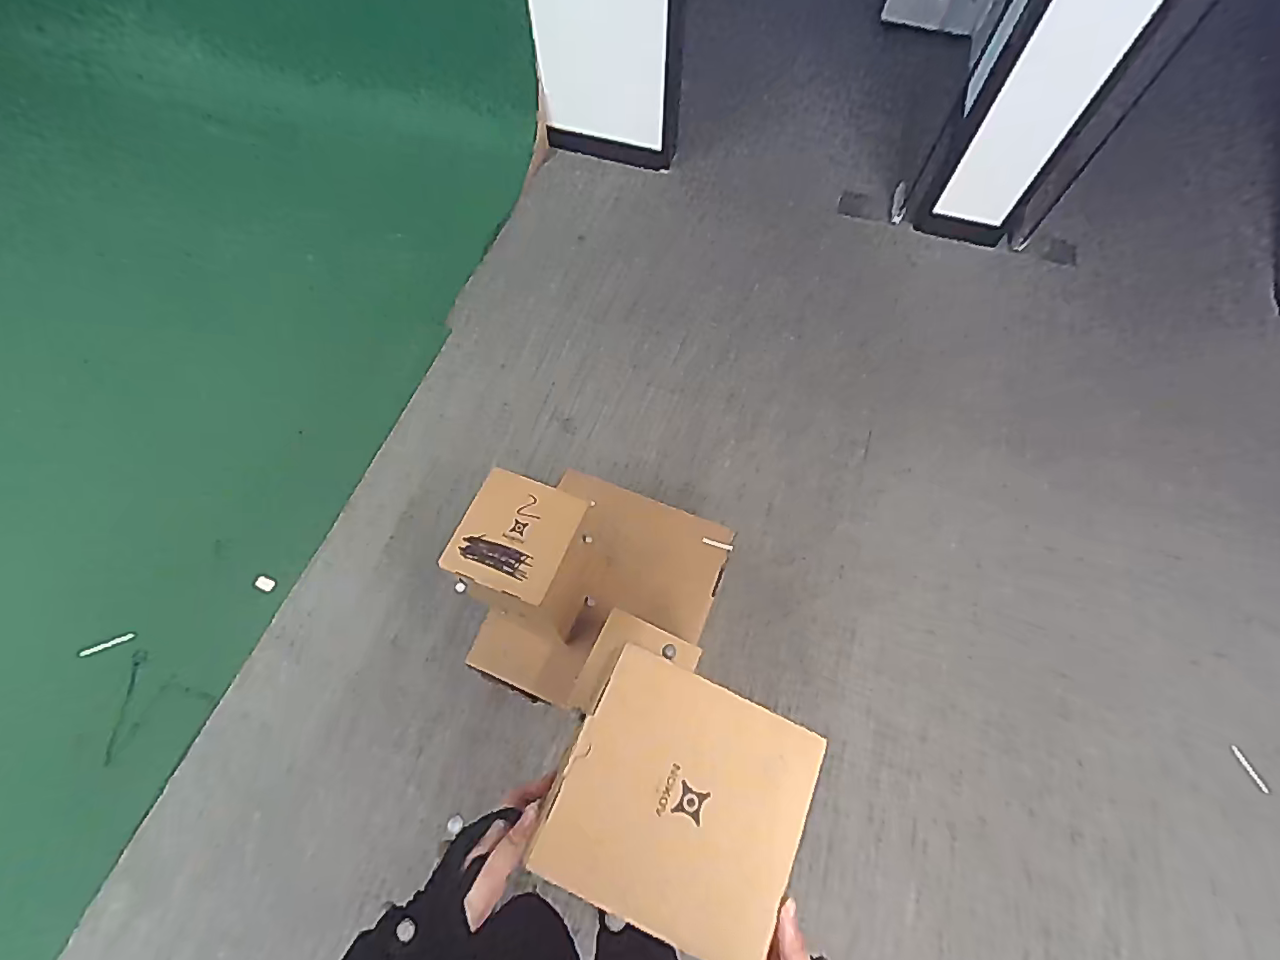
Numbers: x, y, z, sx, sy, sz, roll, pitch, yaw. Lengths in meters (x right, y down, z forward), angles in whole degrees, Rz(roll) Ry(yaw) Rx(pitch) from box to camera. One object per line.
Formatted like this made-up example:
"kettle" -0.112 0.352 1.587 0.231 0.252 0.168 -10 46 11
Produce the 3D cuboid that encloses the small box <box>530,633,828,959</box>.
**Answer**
"small box" 0.027 0.249 0.468 0.179 0.176 0.168 25 69 4

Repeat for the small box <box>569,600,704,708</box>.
"small box" -0.004 0.337 0.937 0.168 0.176 0.179 25 66 9

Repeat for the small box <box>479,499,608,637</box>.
"small box" -0.170 0.170 1.014 0.168 0.176 0.179 23 66 11
